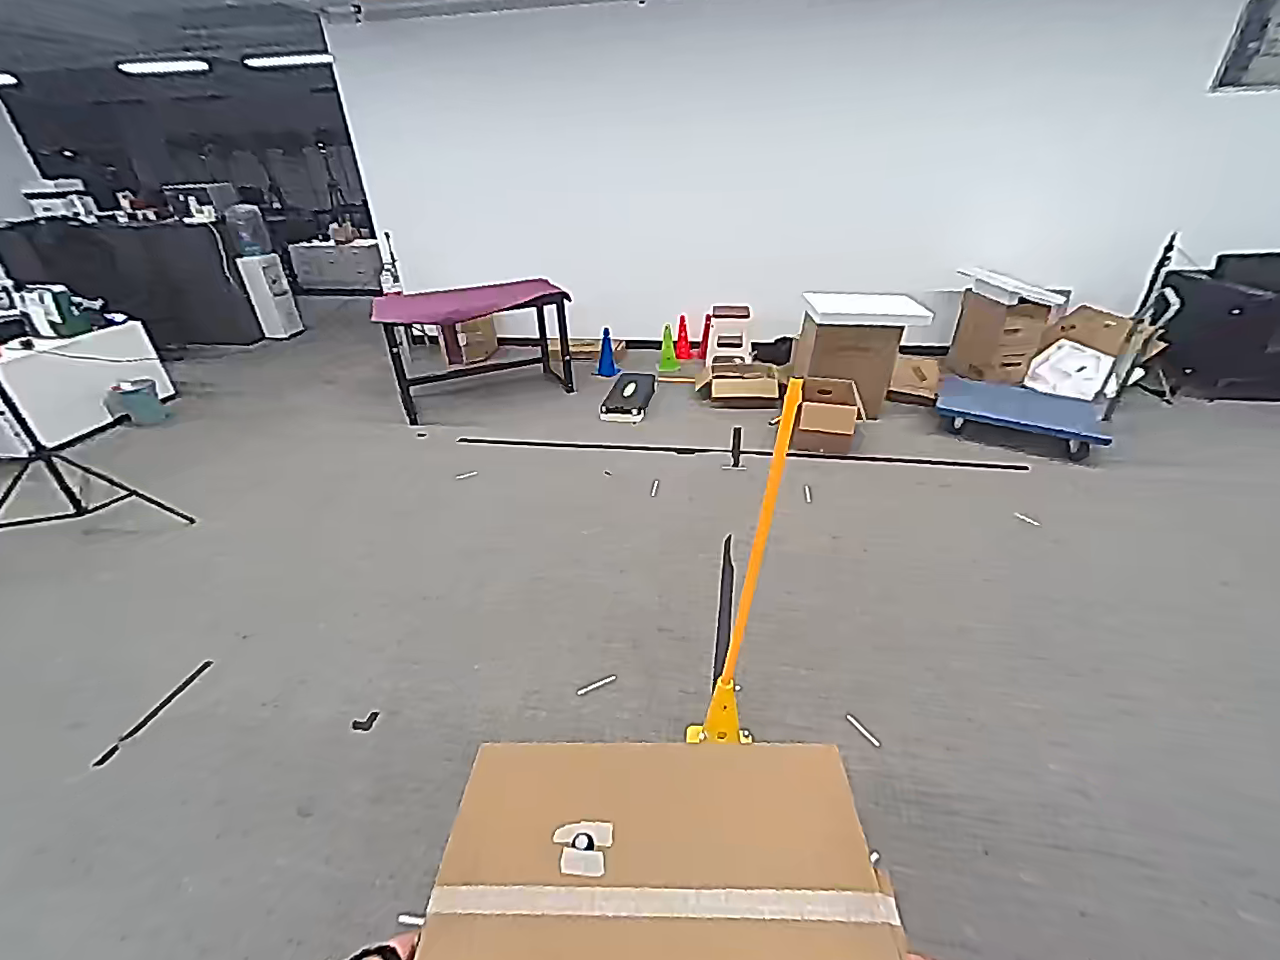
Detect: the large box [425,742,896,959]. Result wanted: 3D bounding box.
[{"bbox_3d":[0.028,0.511,0.560,0.408,0.320,0.320,-4,29,5],"label":"large box"}]
